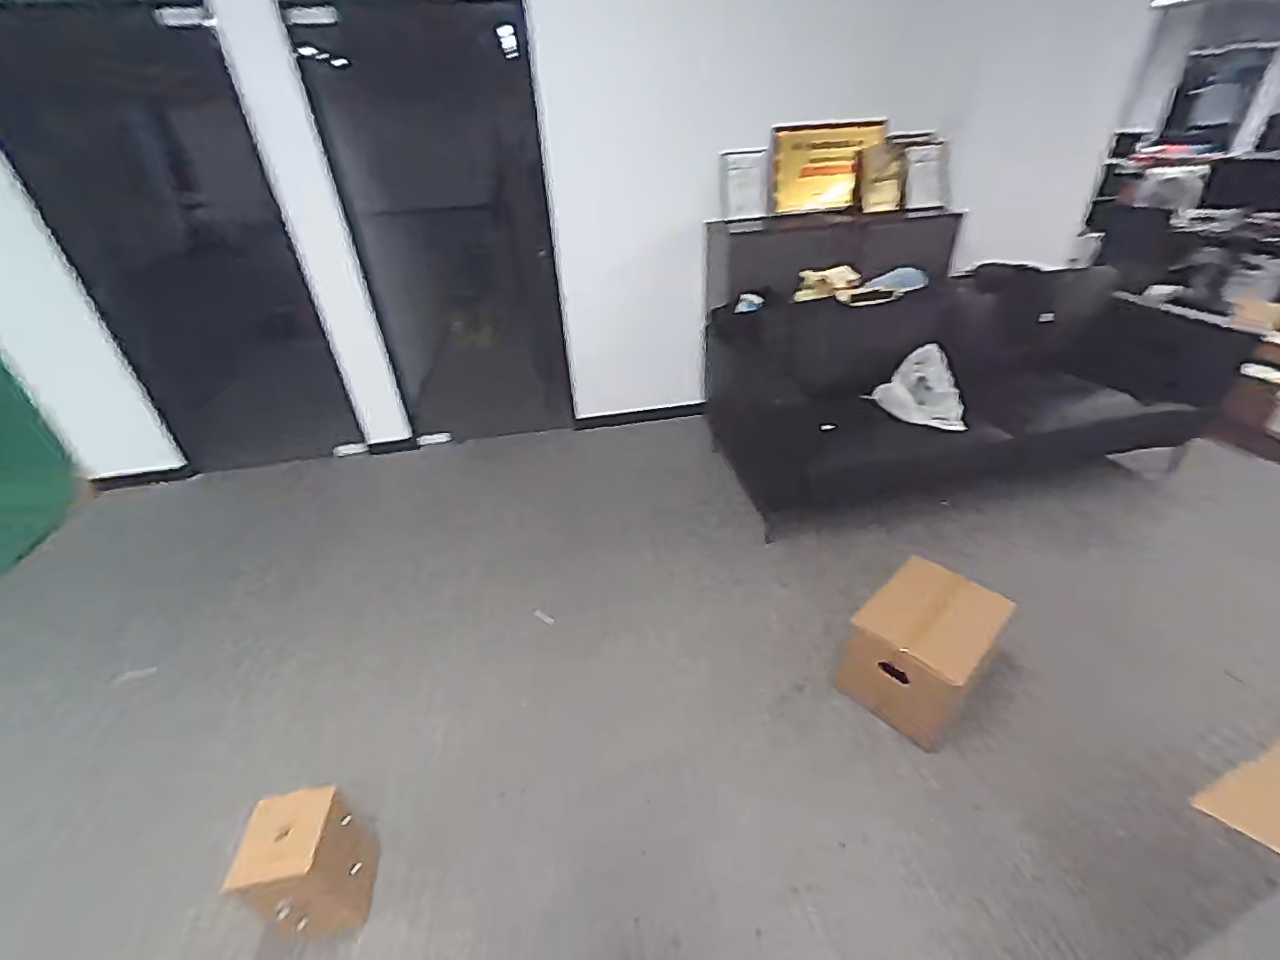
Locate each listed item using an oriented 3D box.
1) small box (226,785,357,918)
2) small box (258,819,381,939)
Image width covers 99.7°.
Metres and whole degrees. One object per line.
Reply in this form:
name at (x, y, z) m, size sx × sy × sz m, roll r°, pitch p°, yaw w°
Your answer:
small box at (-0.742, 0.807, 1.179) m, size 0.168 × 0.176 × 0.179 m, roll -8°, pitch 34°, yaw -6°
small box at (-0.743, 0.941, 1.274) m, size 0.179 × 0.176 × 0.168 m, roll -7°, pitch 33°, yaw -6°
